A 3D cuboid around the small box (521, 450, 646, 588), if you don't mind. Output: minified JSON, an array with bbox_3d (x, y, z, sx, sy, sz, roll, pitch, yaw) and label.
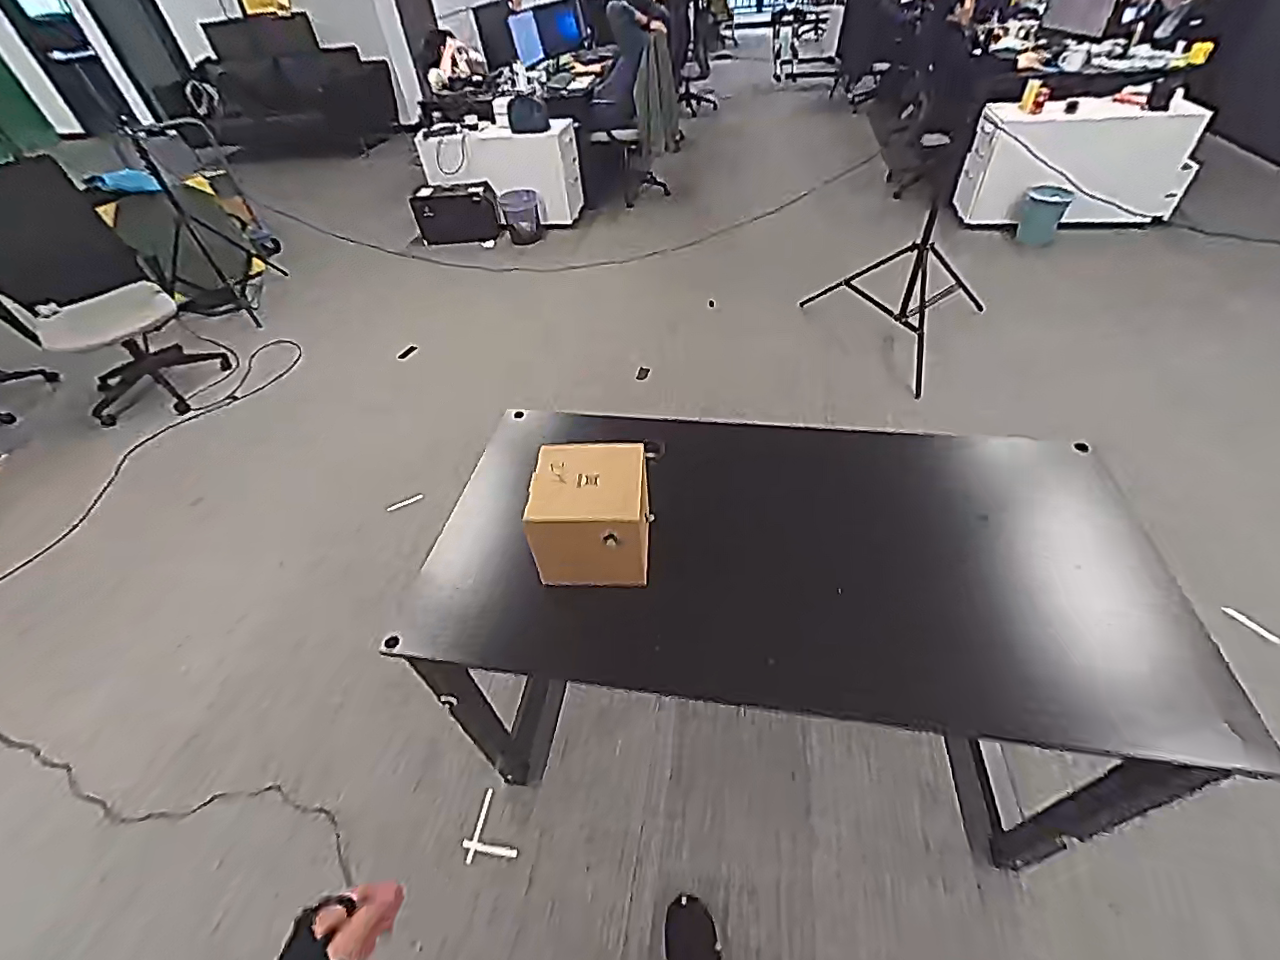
[{"bbox_3d":[-0.081,0.067,0.901,0.179,0.176,0.168,-1,45,5],"label":"small box"}]
